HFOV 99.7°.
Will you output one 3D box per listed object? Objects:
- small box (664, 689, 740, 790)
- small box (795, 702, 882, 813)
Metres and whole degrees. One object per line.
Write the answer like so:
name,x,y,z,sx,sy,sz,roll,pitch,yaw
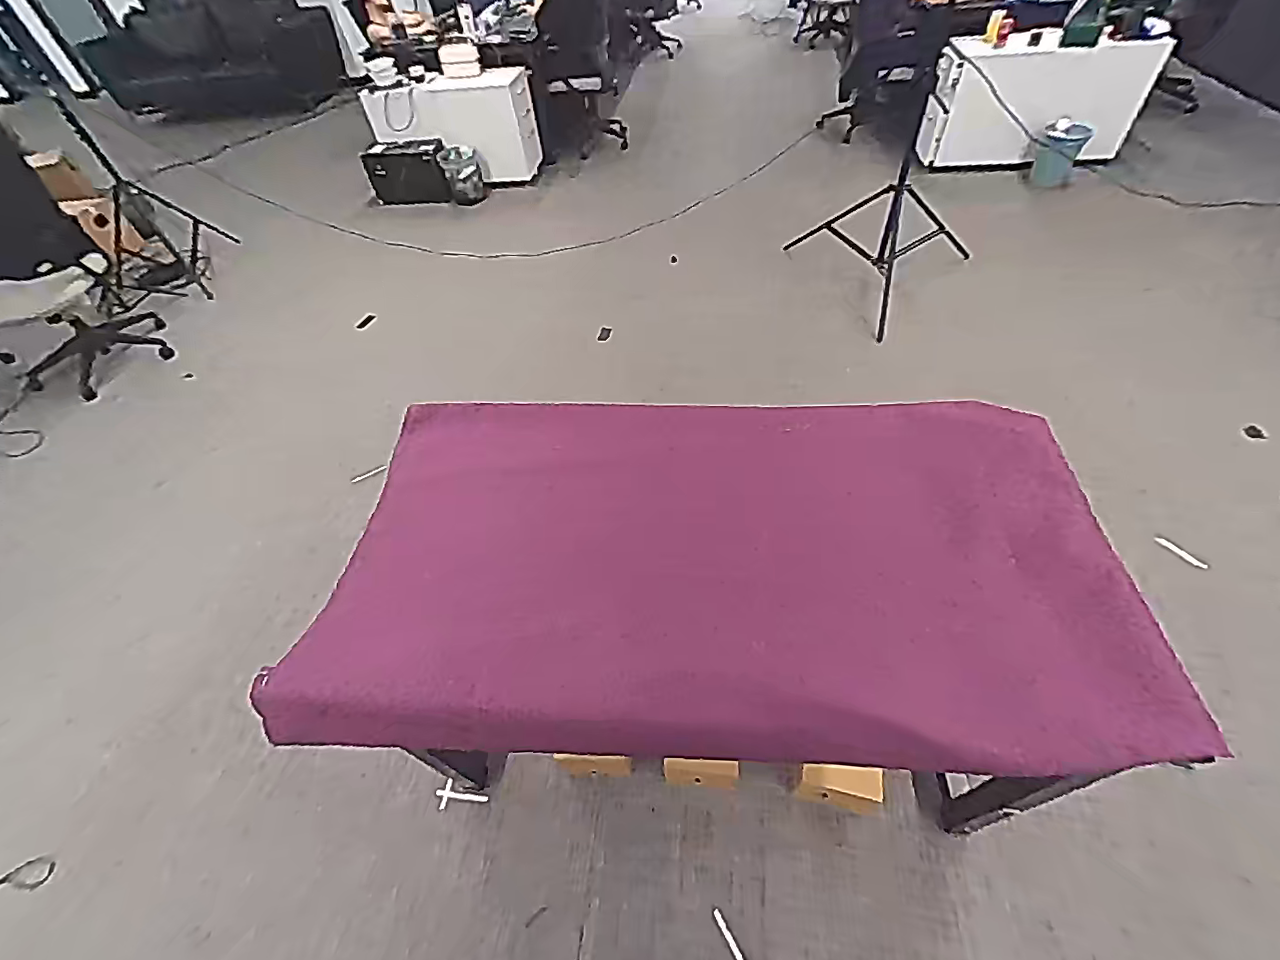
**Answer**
small box,0.154,0.628,1.305,0.168,0.176,0.179,3,50,8
small box,0.458,0.648,1.258,0.168,0.176,0.179,8,50,14
